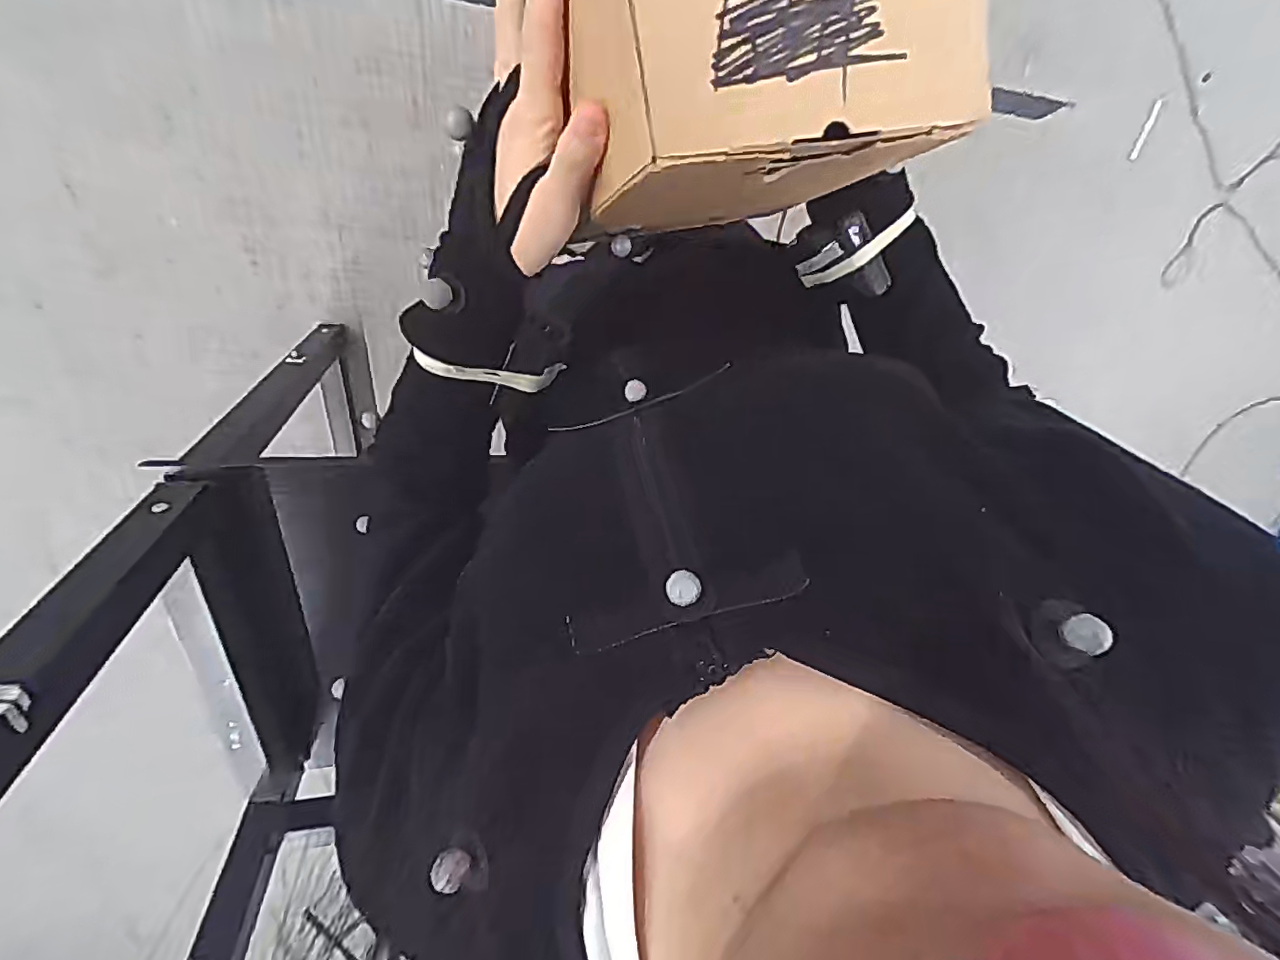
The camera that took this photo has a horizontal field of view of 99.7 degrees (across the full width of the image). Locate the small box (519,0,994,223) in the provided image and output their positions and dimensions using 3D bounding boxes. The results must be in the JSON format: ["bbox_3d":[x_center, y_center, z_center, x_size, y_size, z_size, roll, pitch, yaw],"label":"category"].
[{"bbox_3d":[0.039,-0.239,0.269,0.168,0.176,0.179,-16,108,-17],"label":"small box"}]
